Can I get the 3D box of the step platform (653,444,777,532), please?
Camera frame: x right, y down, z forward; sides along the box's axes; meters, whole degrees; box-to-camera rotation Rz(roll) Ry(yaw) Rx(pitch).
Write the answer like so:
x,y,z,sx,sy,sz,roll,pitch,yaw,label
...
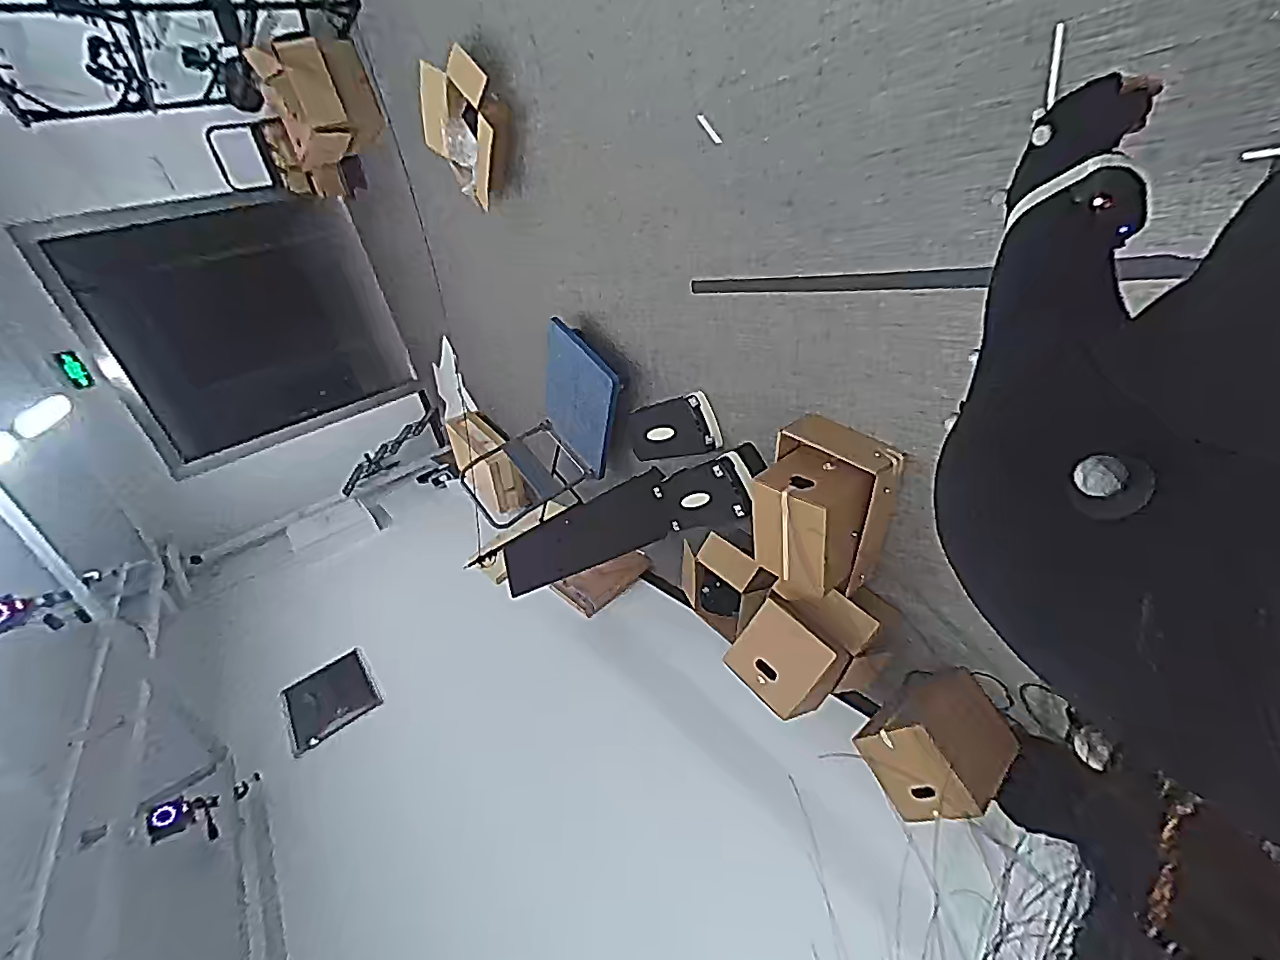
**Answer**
x,y,z,sx,sy,sz,roll,pitch,yaw,label
0.331,0.060,2.605,0.286,0.204,0.684,62,150,-2,step platform
